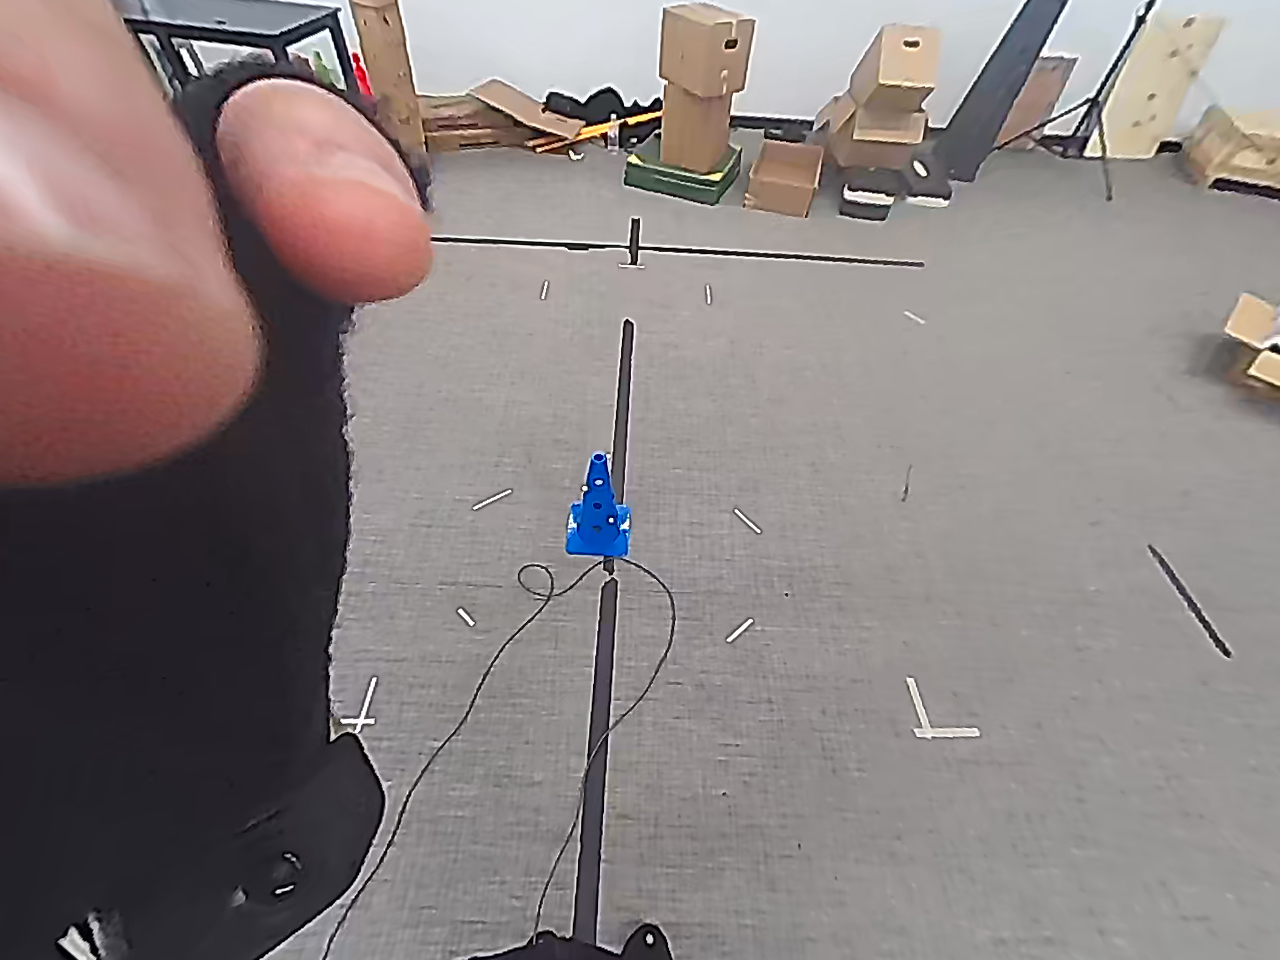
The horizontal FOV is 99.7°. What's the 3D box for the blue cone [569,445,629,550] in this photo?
[{"bbox_3d":[-0.126,0.042,1.614,0.193,0.380,0.192,2,51,-2],"label":"blue cone"}]
